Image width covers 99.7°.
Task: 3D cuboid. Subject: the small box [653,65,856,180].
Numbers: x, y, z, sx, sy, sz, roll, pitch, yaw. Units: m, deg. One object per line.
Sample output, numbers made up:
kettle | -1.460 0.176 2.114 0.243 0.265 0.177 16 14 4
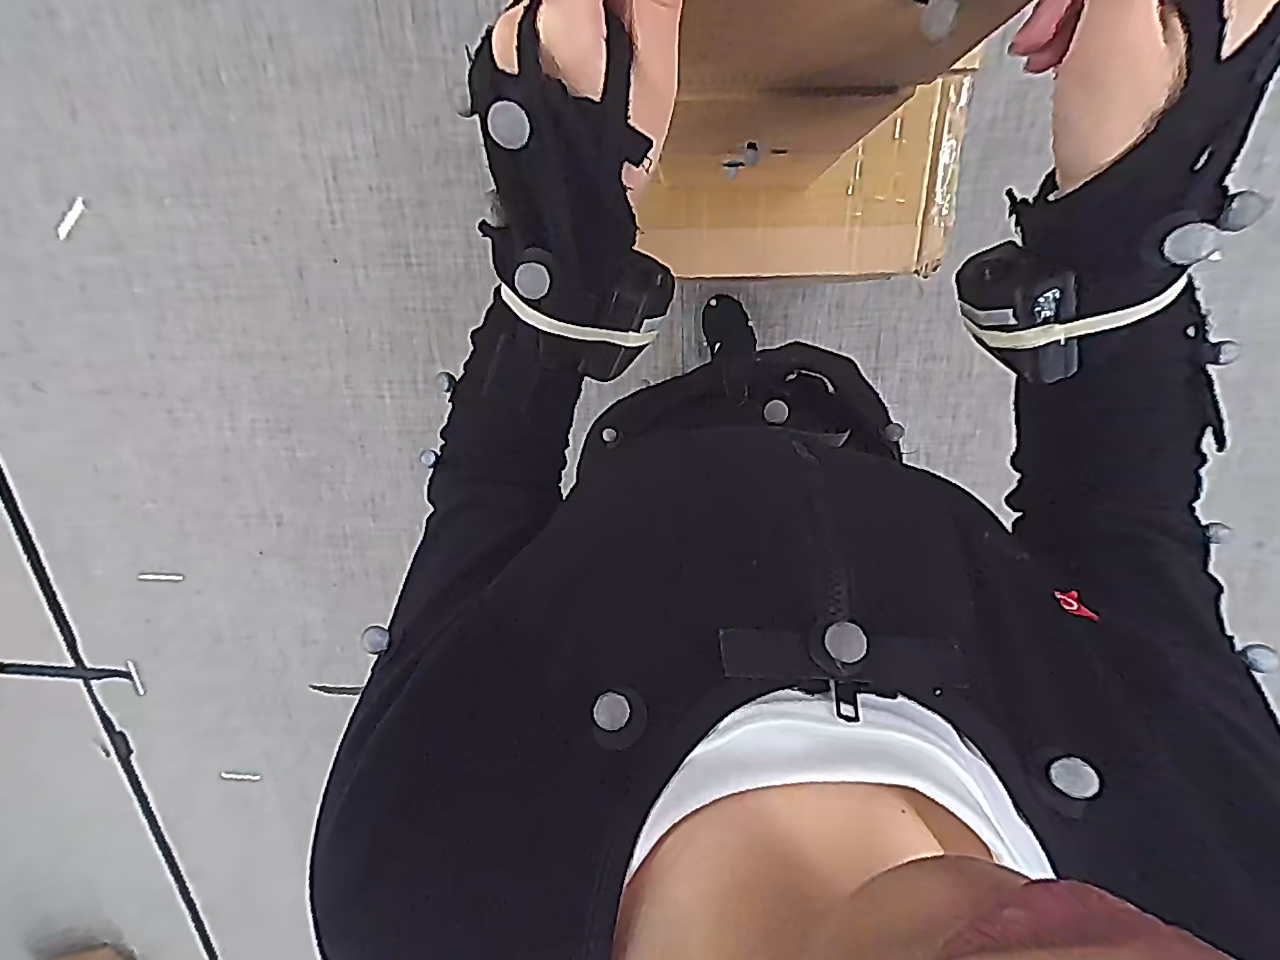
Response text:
small box | 0.108 -0.406 0.539 0.179 0.176 0.168 2 110 4

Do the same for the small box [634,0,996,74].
small box | 0.084 -0.298 0.228 0.179 0.176 0.168 2 110 5
